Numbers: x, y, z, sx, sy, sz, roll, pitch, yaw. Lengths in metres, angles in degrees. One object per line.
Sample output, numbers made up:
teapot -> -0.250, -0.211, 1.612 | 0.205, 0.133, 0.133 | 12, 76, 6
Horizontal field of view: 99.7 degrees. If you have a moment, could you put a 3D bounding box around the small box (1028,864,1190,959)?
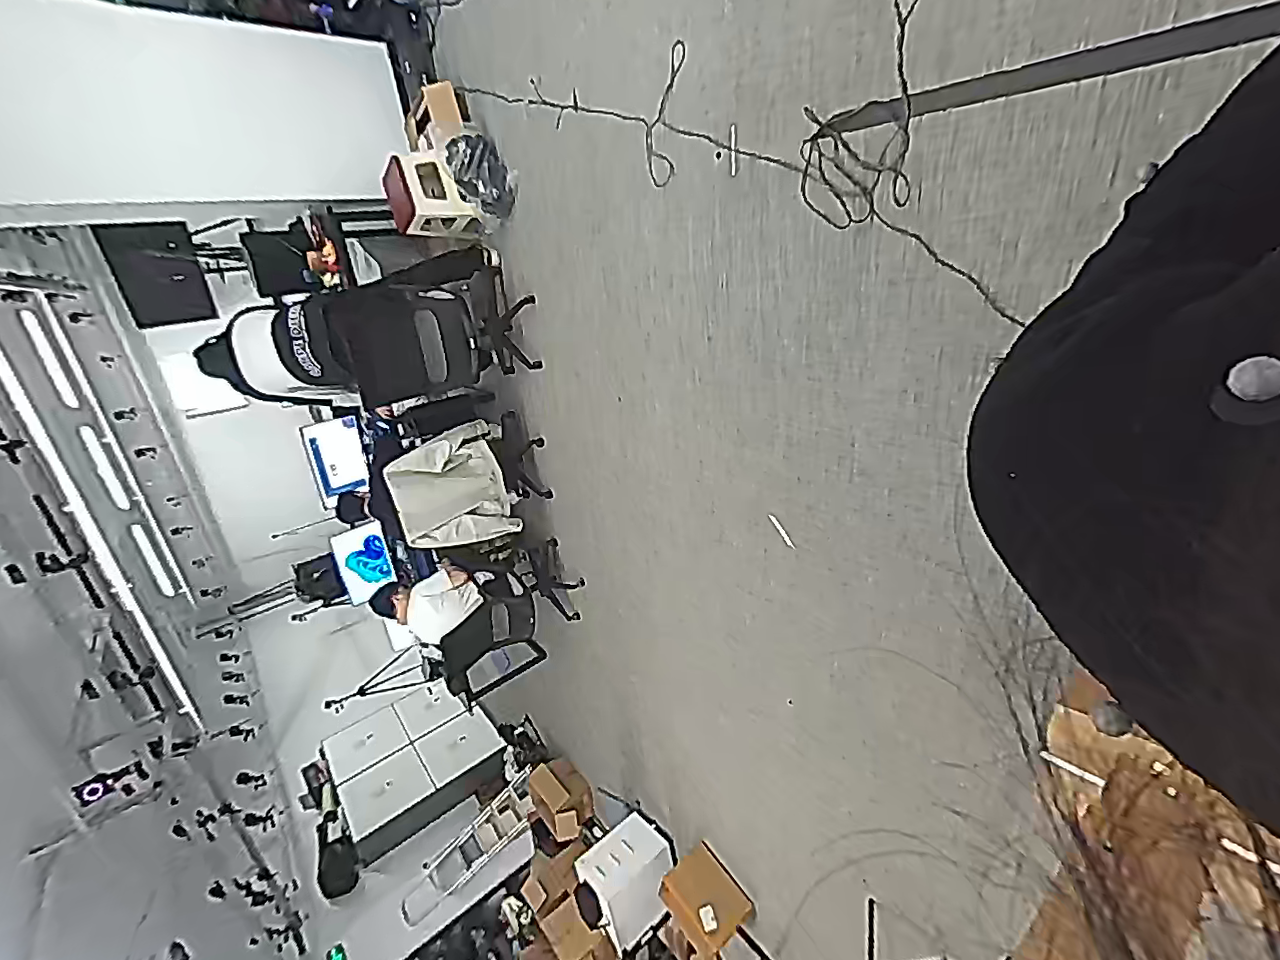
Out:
small box -> 0.752, 0.784, 0.874 | 0.168, 0.176, 0.179 | 12, 117, 53

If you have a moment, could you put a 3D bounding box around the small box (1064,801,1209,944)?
small box -> 0.876, 0.728, 0.967 | 0.168, 0.176, 0.179 | 17, 123, 50

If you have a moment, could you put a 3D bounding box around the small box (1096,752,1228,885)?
small box -> 1.004, 0.683, 1.055 | 0.168, 0.176, 0.179 | 18, 122, 48
